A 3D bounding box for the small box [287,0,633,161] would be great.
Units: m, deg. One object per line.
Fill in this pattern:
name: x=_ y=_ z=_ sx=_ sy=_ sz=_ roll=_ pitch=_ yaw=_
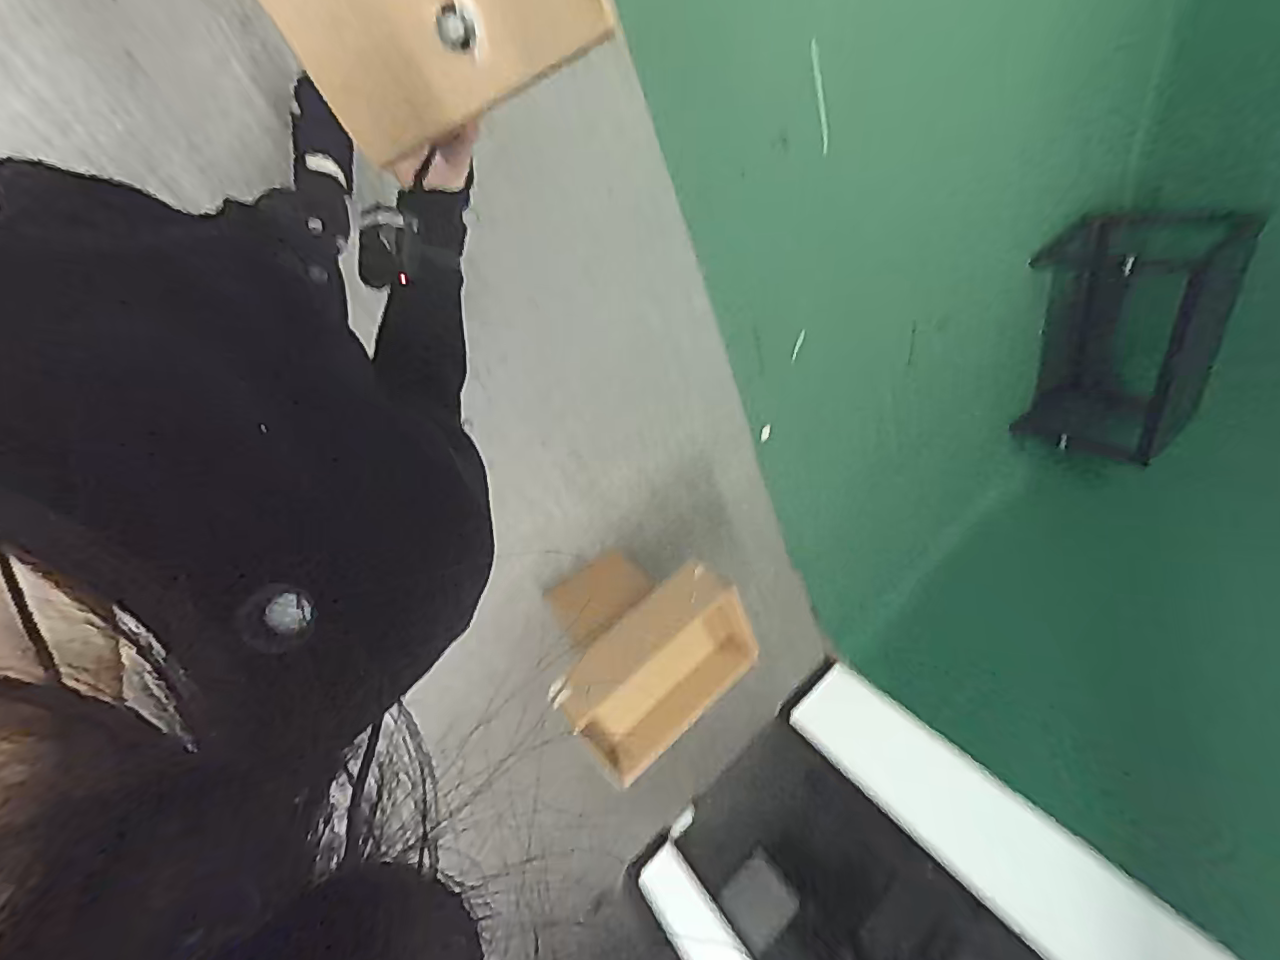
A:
small box: x=-0.122 y=-0.336 z=0.326 sx=0.179 sy=0.168 sz=0.176 roll=-21 pitch=130 yaw=13
